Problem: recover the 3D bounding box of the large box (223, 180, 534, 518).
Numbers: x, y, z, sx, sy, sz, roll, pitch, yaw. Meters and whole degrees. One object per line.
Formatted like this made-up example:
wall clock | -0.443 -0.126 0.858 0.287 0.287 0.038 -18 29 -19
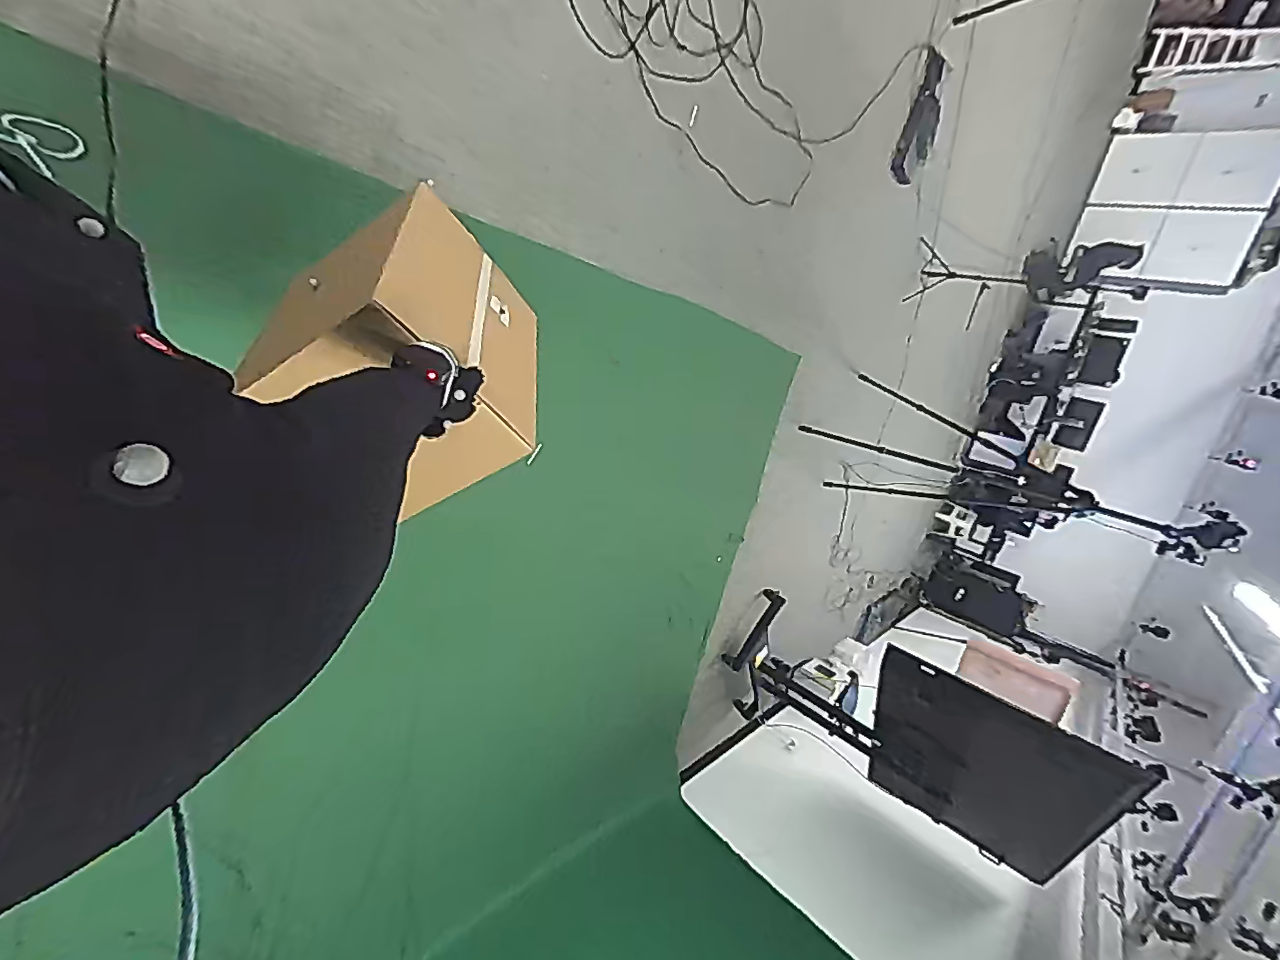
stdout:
large box | -0.400 -0.214 0.921 0.320 0.408 0.320 -25 136 15
